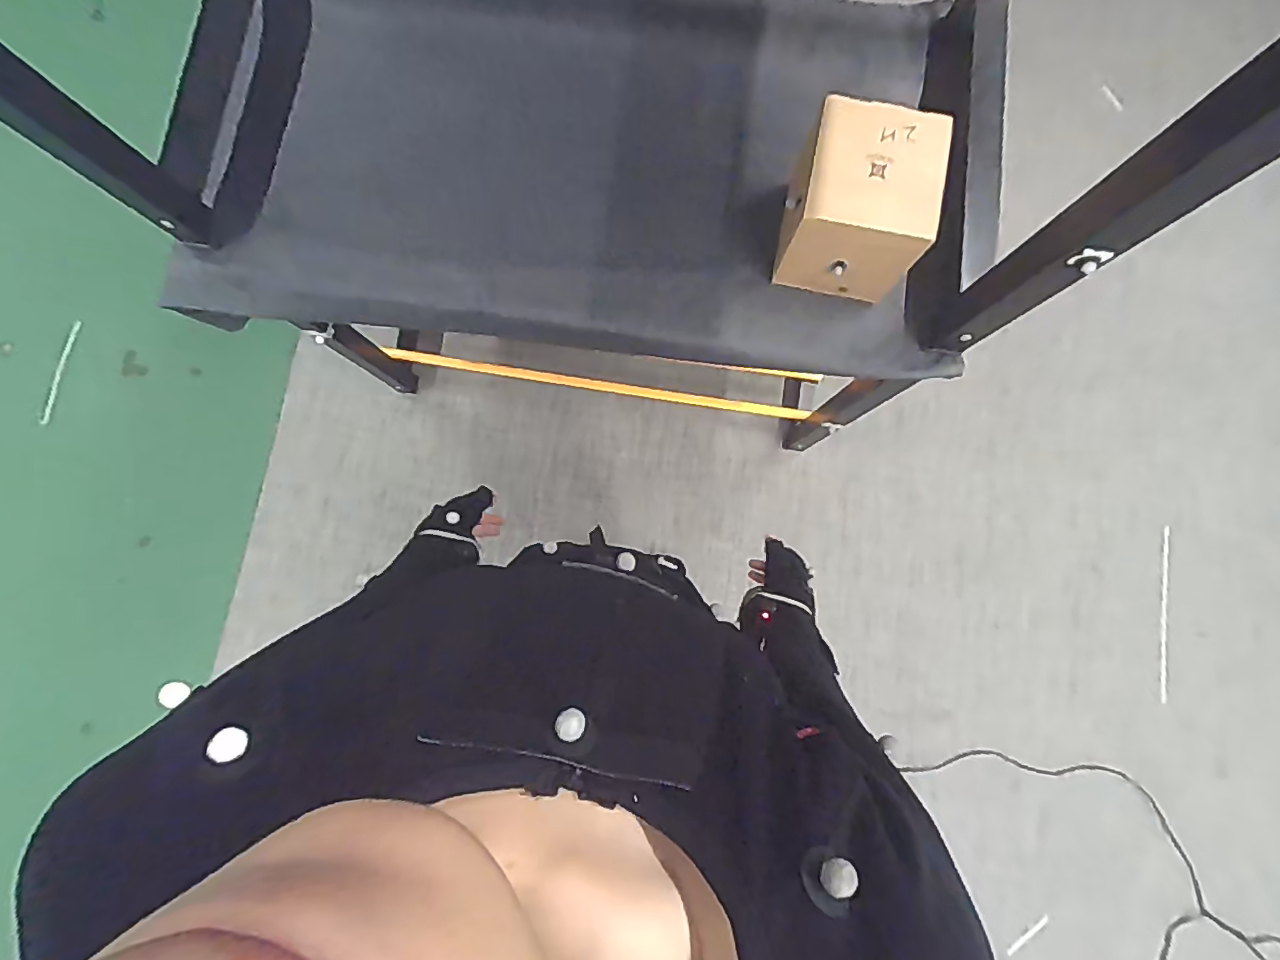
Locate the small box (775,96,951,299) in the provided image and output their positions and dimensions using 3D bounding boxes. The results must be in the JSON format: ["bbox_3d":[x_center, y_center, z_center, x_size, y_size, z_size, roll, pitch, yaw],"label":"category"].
[{"bbox_3d":[0.296,-0.378,0.753,0.168,0.176,0.179,12,82,1],"label":"small box"}]
